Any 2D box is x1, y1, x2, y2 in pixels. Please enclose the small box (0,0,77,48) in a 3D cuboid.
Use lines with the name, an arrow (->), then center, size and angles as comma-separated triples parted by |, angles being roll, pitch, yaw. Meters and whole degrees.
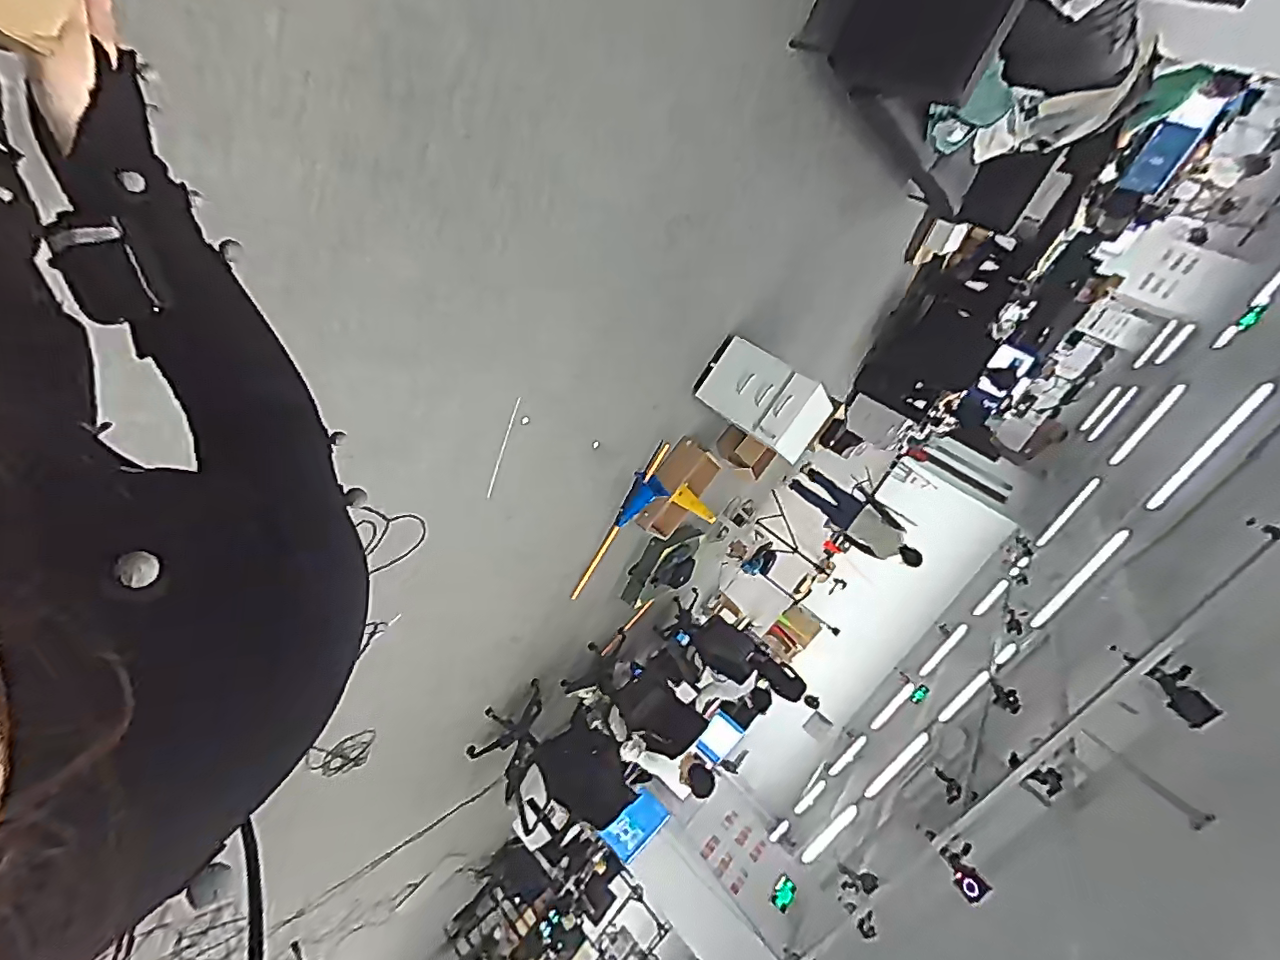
small box -> -0.375, -0.349, 0.245 | 0.168, 0.176, 0.179 | 13, 103, -62
